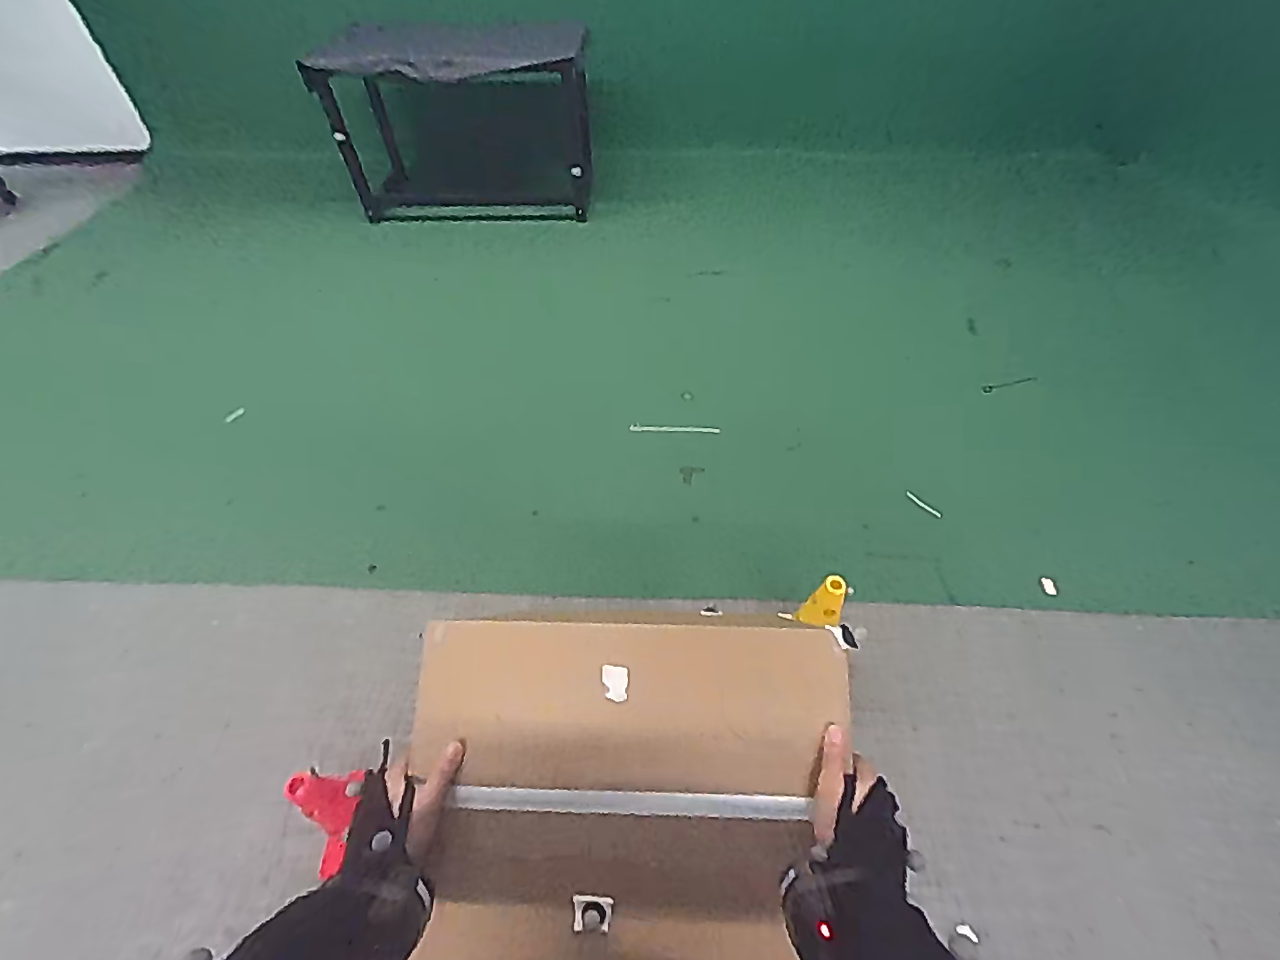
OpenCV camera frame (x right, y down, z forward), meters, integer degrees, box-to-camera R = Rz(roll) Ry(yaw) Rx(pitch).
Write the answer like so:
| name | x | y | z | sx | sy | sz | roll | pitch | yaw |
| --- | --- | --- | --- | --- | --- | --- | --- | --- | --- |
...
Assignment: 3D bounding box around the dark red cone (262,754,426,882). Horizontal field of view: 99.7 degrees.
| name | x | y | z | sx | sy | sz | roll | pitch | yaw |
| --- | --- | --- | --- | --- | --- | --- | --- | --- | --- |
| dark red cone | -0.563 | 0.586 | 0.993 | 0.202 | 0.394 | 0.201 | -5 | 46 | -1 |
